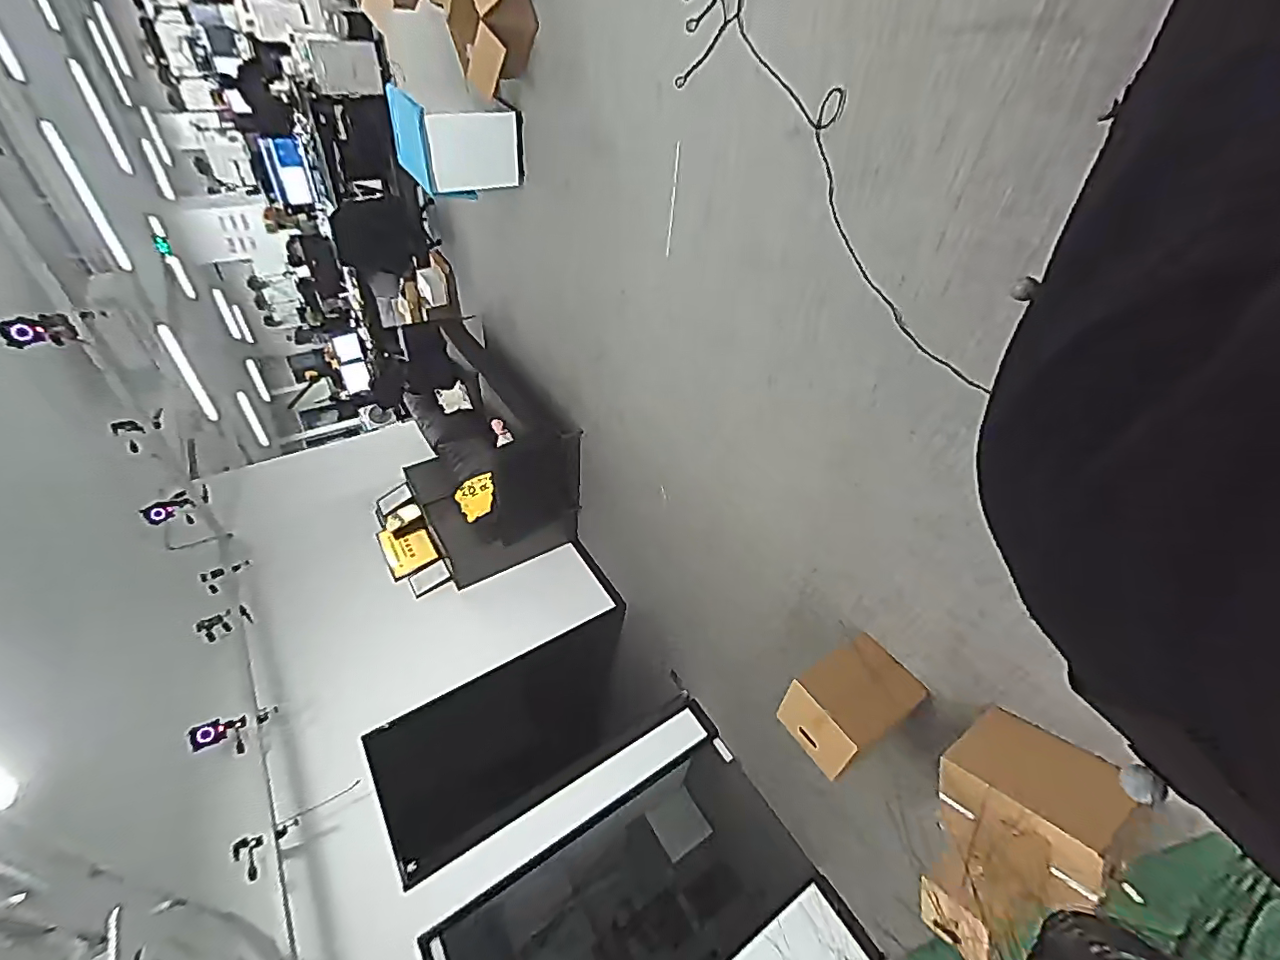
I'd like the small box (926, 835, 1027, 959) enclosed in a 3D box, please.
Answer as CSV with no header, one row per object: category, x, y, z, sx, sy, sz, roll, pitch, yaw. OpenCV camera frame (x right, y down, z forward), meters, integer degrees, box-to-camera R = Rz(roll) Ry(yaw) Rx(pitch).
small box,0.867,1.080,1.396,0.168,0.176,0.179,19,125,55

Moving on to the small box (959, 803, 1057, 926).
small box,1.006,1.038,1.474,0.168,0.176,0.179,12,119,58
